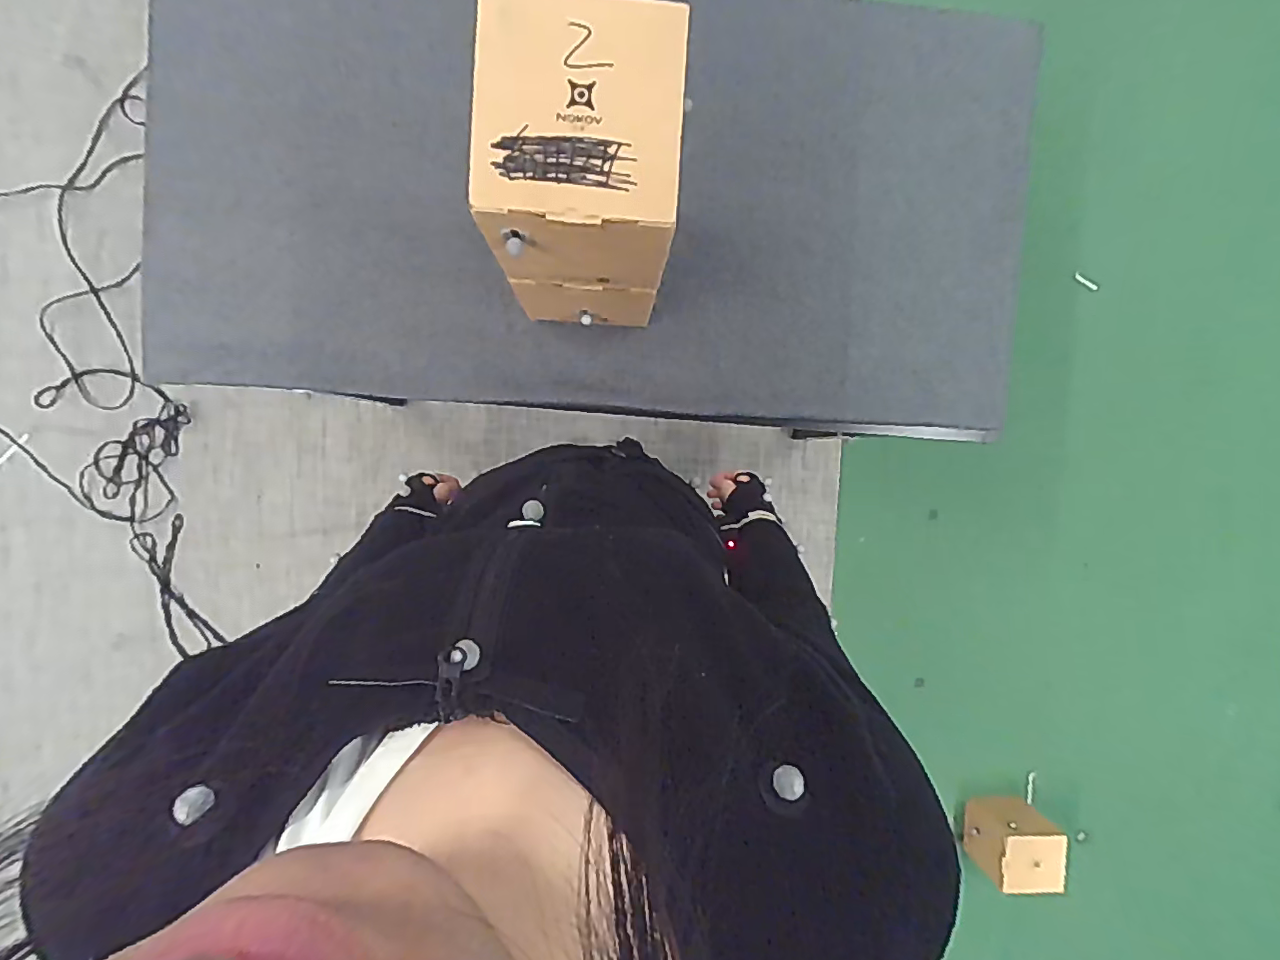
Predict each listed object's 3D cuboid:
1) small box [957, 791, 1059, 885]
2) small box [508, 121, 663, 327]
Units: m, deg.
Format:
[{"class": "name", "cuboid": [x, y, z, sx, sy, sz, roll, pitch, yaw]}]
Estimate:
[{"class": "small box", "cuboid": [1.062, 1.031, 1.569, 0.179, 0.176, 0.168, 1, 94, -4]}, {"class": "small box", "cuboid": [-0.066, -0.303, 0.674, 0.168, 0.176, 0.179, 2, 93, -4]}]
